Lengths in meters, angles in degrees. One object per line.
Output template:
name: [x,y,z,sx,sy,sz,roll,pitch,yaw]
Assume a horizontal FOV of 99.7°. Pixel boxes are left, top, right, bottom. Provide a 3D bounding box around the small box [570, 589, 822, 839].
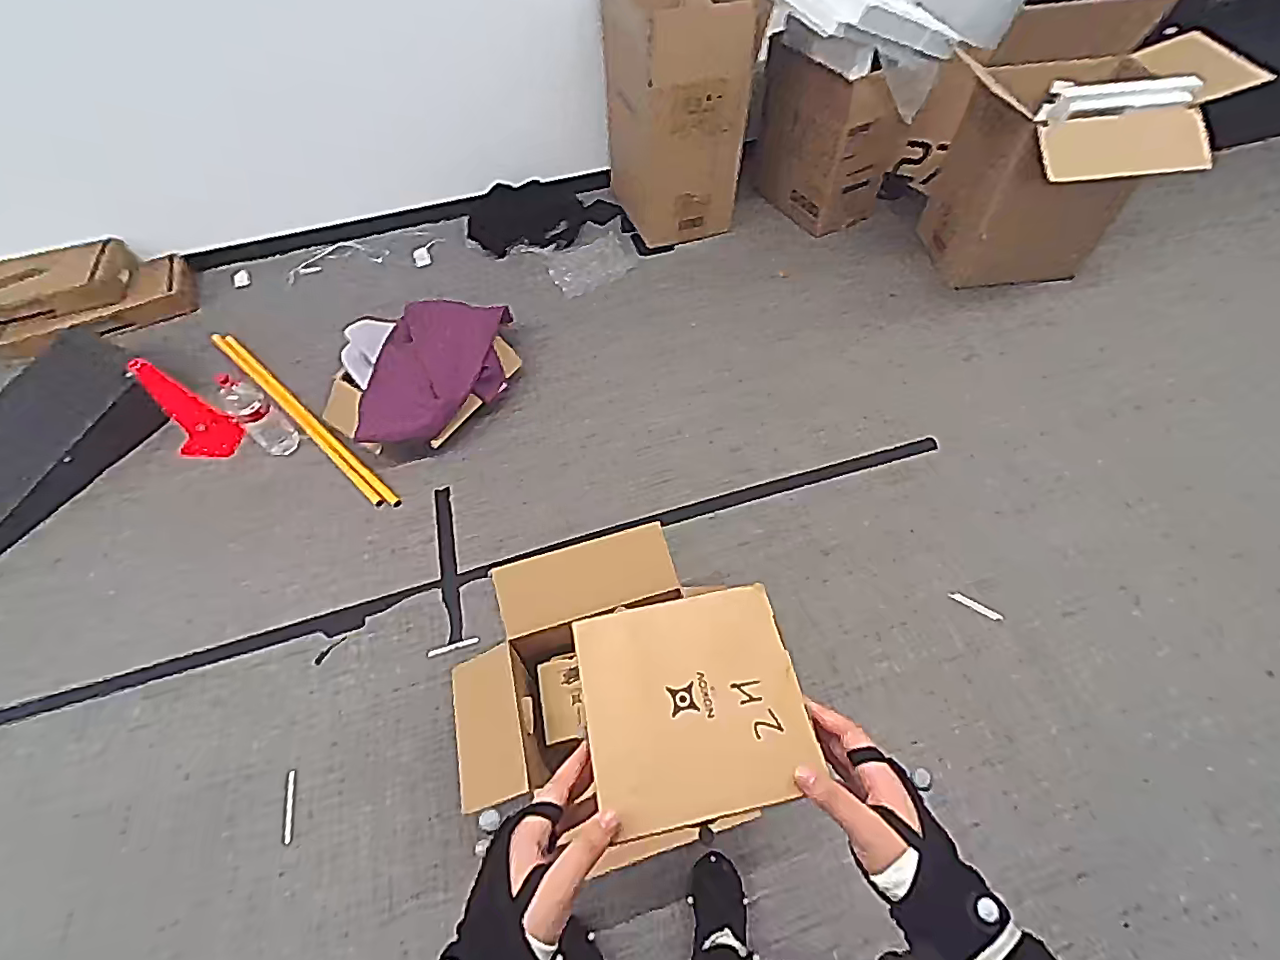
small box: [0.040,0.224,0.507,0.179,0.176,0.168,-10,58,-7]
